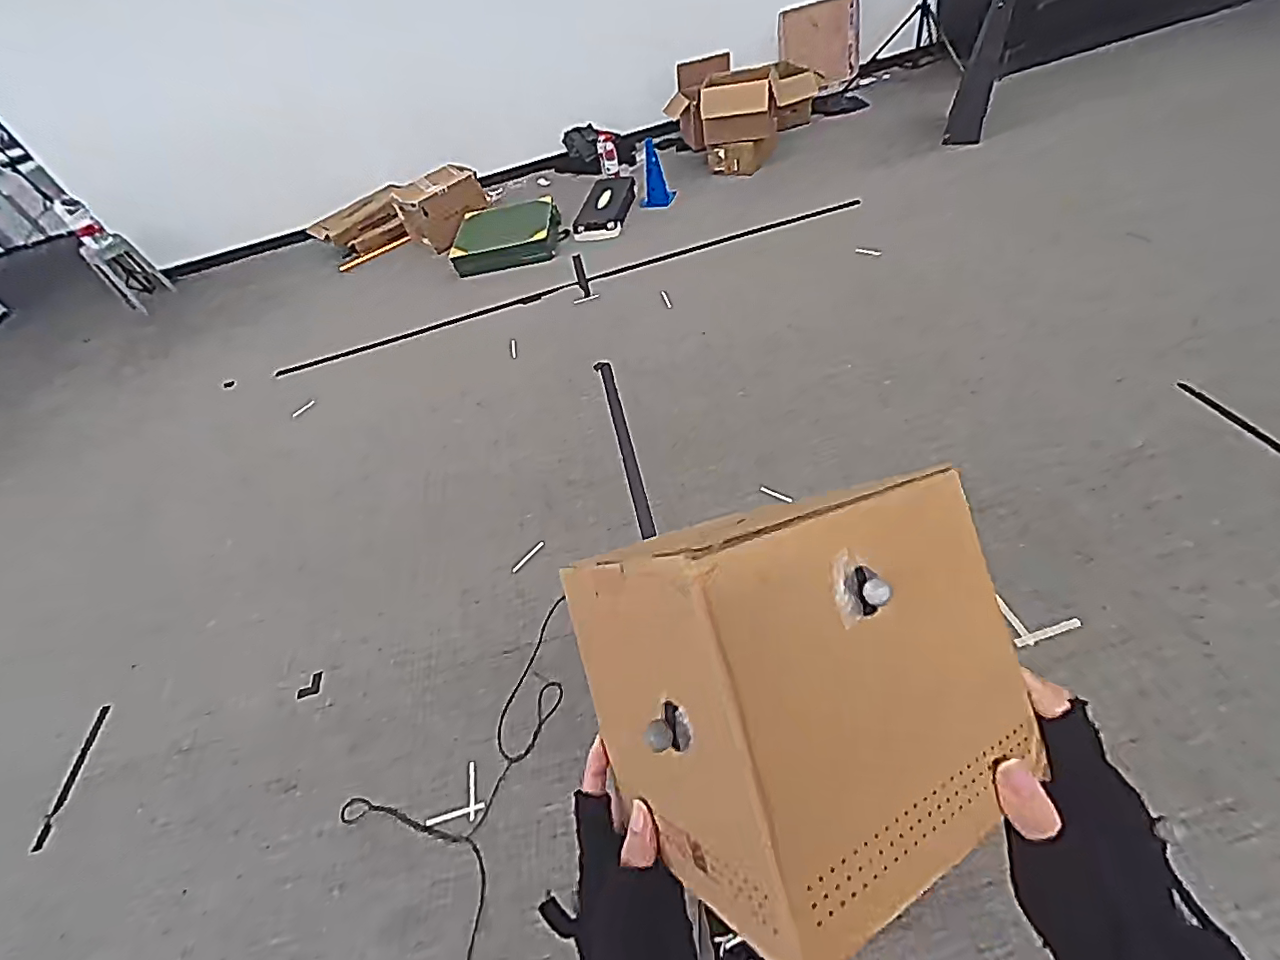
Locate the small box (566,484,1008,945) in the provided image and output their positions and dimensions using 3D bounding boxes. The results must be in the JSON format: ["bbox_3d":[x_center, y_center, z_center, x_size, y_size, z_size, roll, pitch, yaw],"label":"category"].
[{"bbox_3d":[0.079,0.114,0.327,0.179,0.168,0.176,-13,85,-28],"label":"small box"}]
